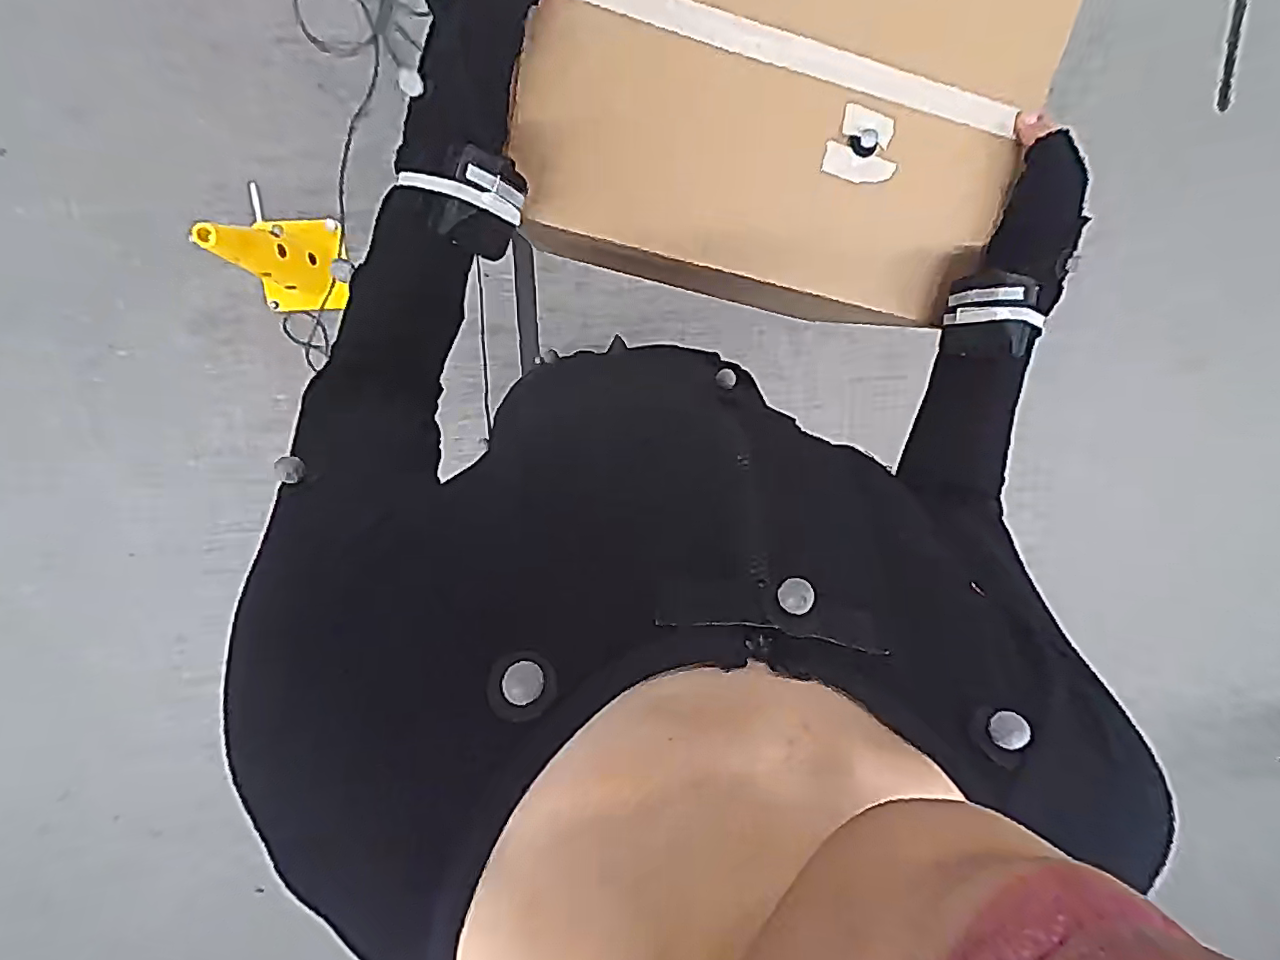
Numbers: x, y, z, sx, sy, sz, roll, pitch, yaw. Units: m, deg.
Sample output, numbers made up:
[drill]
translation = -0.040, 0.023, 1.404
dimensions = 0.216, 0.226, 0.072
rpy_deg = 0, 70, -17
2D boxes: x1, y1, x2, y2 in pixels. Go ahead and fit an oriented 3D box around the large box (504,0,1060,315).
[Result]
[large box]
translation = 0.096, -0.364, 0.551
dimensions = 0.408, 0.320, 0.320
rpy_deg = 10, 106, -10
